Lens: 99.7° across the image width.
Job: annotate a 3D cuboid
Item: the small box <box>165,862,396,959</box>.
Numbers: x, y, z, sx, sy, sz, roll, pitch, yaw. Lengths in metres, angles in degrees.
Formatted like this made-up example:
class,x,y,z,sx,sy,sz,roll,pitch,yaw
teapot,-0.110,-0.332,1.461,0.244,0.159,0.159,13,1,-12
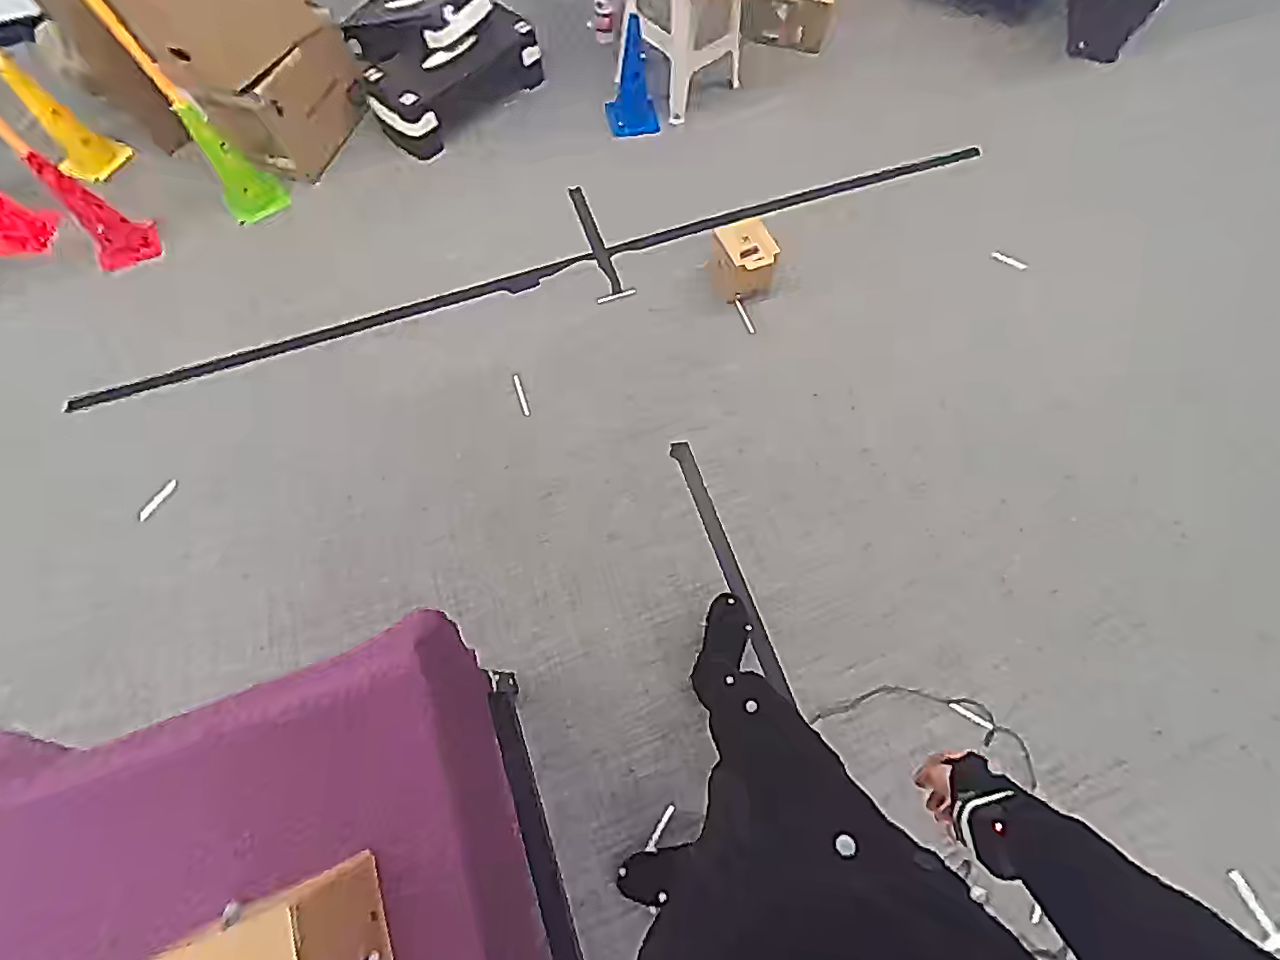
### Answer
class,x,y,z,sx,sy,sz,roll,pitch,yaw
small box,-0.370,0.530,0.543,0.179,0.176,0.168,-21,71,-8

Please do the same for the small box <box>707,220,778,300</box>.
class,x,y,z,sx,sy,sz,roll,pitch,yaw
small box,0.340,-0.736,1.833,0.168,0.176,0.179,-21,70,-9
